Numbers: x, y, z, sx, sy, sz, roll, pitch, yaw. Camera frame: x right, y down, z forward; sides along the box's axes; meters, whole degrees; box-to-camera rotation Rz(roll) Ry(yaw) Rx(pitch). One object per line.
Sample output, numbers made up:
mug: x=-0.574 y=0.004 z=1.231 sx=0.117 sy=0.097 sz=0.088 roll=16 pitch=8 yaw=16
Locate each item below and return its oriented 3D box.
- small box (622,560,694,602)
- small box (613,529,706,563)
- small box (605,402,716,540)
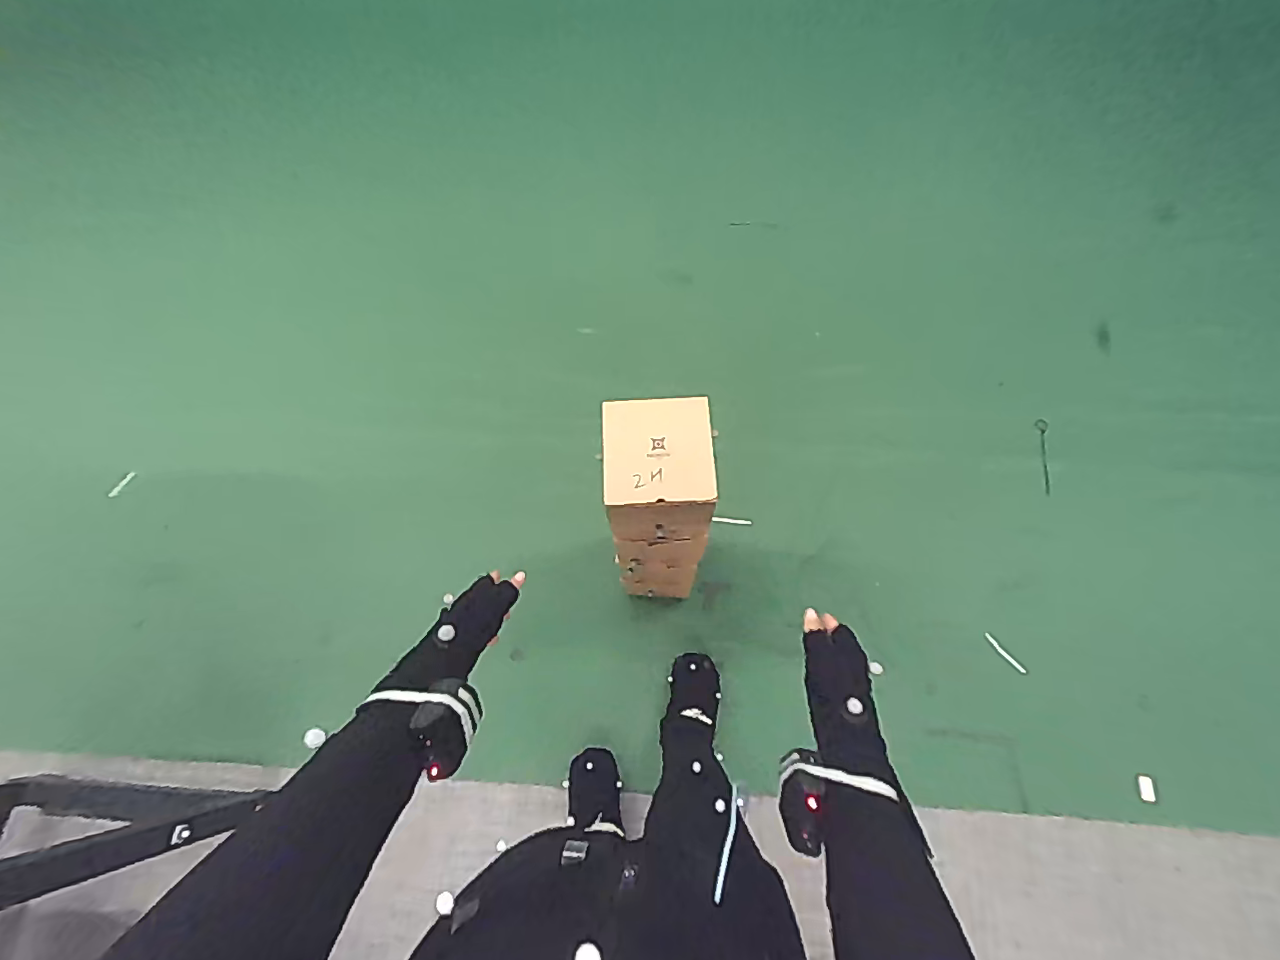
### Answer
small box: x=0.047 y=0.195 z=1.338 sx=0.168 sy=0.176 sz=0.179 roll=3 pitch=68 yaw=3
small box: x=0.037 y=0.060 z=1.038 sx=0.168 sy=0.176 sz=0.179 roll=-1 pitch=67 yaw=1
small box: x=0.029 y=-0.010 z=0.890 sx=0.168 sy=0.176 sz=0.179 roll=-3 pitch=68 yaw=1
